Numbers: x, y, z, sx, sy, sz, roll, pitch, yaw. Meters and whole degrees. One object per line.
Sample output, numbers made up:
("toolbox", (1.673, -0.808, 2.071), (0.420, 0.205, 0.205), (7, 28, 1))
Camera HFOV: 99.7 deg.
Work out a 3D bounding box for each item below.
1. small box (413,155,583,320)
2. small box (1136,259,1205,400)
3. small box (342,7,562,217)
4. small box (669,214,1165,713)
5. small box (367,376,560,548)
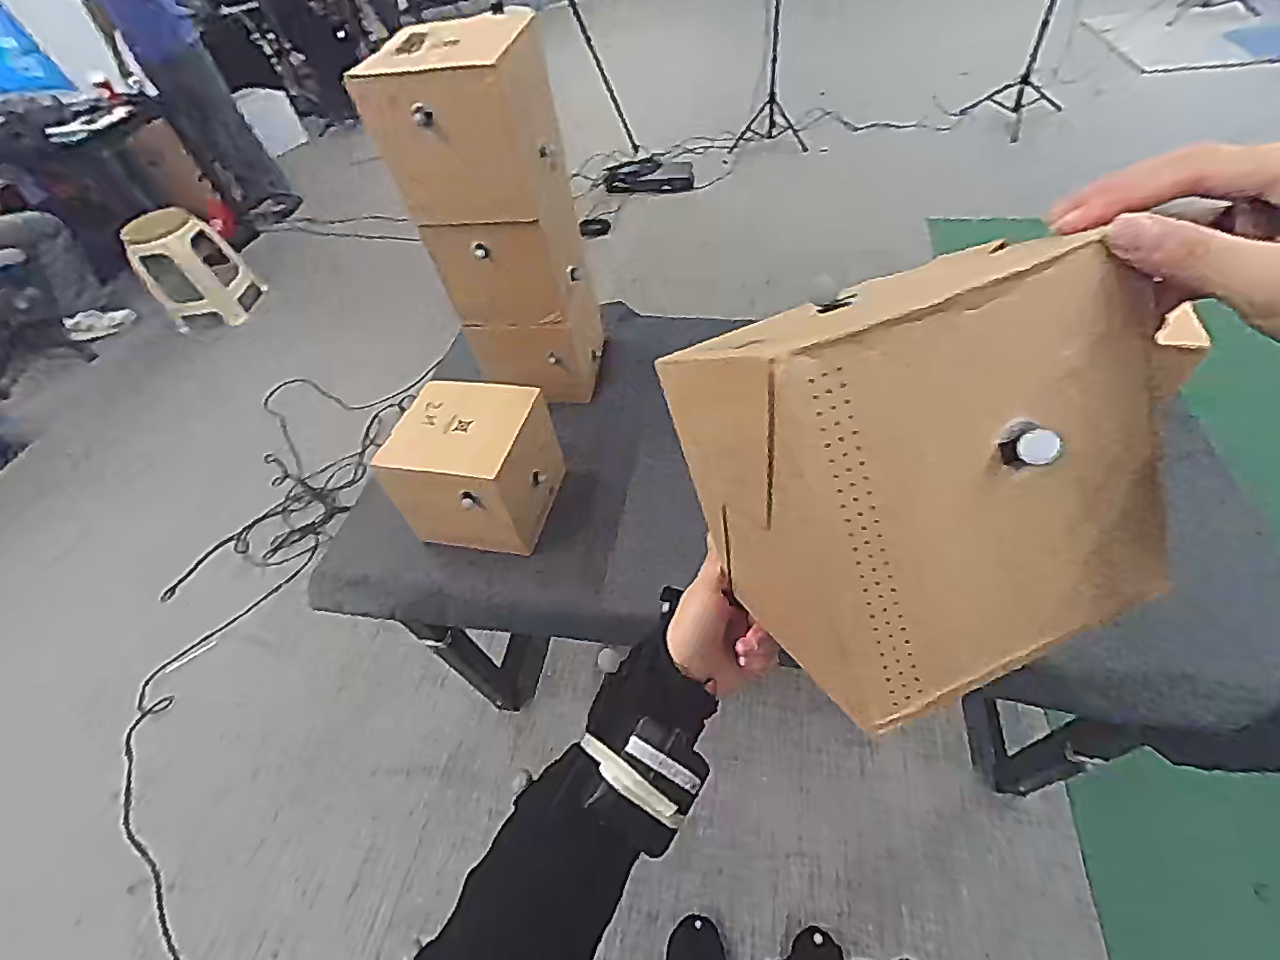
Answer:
("small box", (-0.196, -0.355, 0.804), (0.179, 0.176, 0.168), (2, 55, 8))
("small box", (0.607, -0.187, 0.756), (0.168, 0.176, 0.179), (6, 55, 14))
("small box", (-0.213, -0.445, 0.667), (0.179, 0.176, 0.168), (3, 55, 10))
("small box", (0.128, -0.013, 0.300), (0.176, 0.179, 0.168), (-22, 16, -7))
("small box", (-0.227, -0.023, 0.753), (0.179, 0.176, 0.168), (6, 51, 13))
